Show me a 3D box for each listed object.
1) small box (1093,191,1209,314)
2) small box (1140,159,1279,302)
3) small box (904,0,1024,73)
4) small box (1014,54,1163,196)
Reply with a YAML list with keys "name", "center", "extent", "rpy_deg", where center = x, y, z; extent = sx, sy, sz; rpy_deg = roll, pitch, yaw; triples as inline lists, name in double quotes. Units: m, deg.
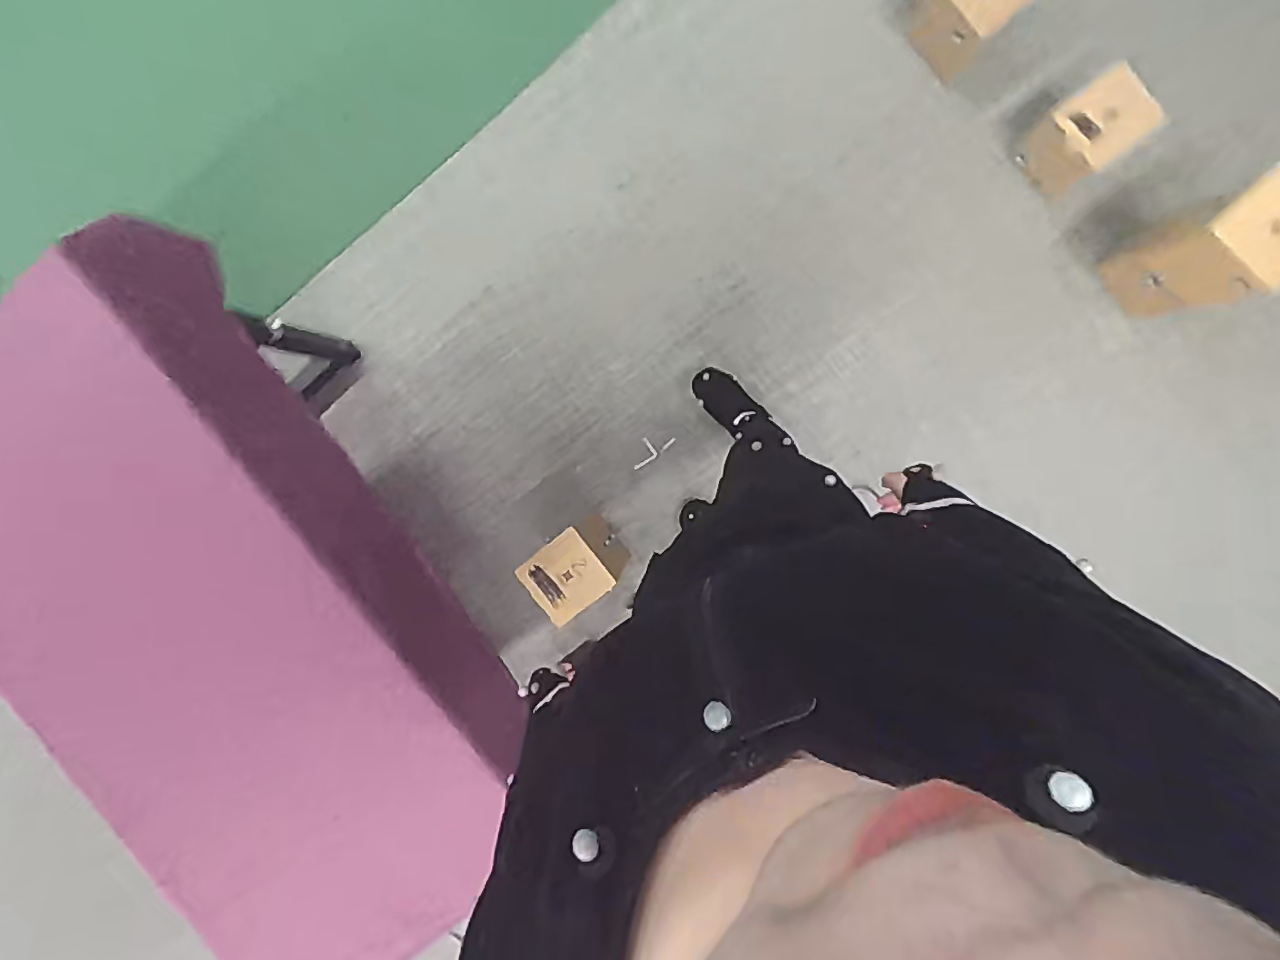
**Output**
- name: "small box"
  center: [1.213, -0.511, 1.243]
  extent: [0.168, 0.176, 0.179]
  rpy_deg: [-40, 90, 9]
- name: "small box"
  center: [1.185, -0.485, 1.085]
  extent: [0.179, 0.176, 0.168]
  rpy_deg: [45, 98, 1]
- name: "small box"
  center: [0.752, -1.092, 1.244]
  extent: [0.168, 0.176, 0.179]
  rpy_deg: [-38, 90, 7]
- name: "small box"
  center: [1.007, -0.799, 1.240]
  extent: [0.179, 0.176, 0.168]
  rpy_deg: [-38, 90, 7]
